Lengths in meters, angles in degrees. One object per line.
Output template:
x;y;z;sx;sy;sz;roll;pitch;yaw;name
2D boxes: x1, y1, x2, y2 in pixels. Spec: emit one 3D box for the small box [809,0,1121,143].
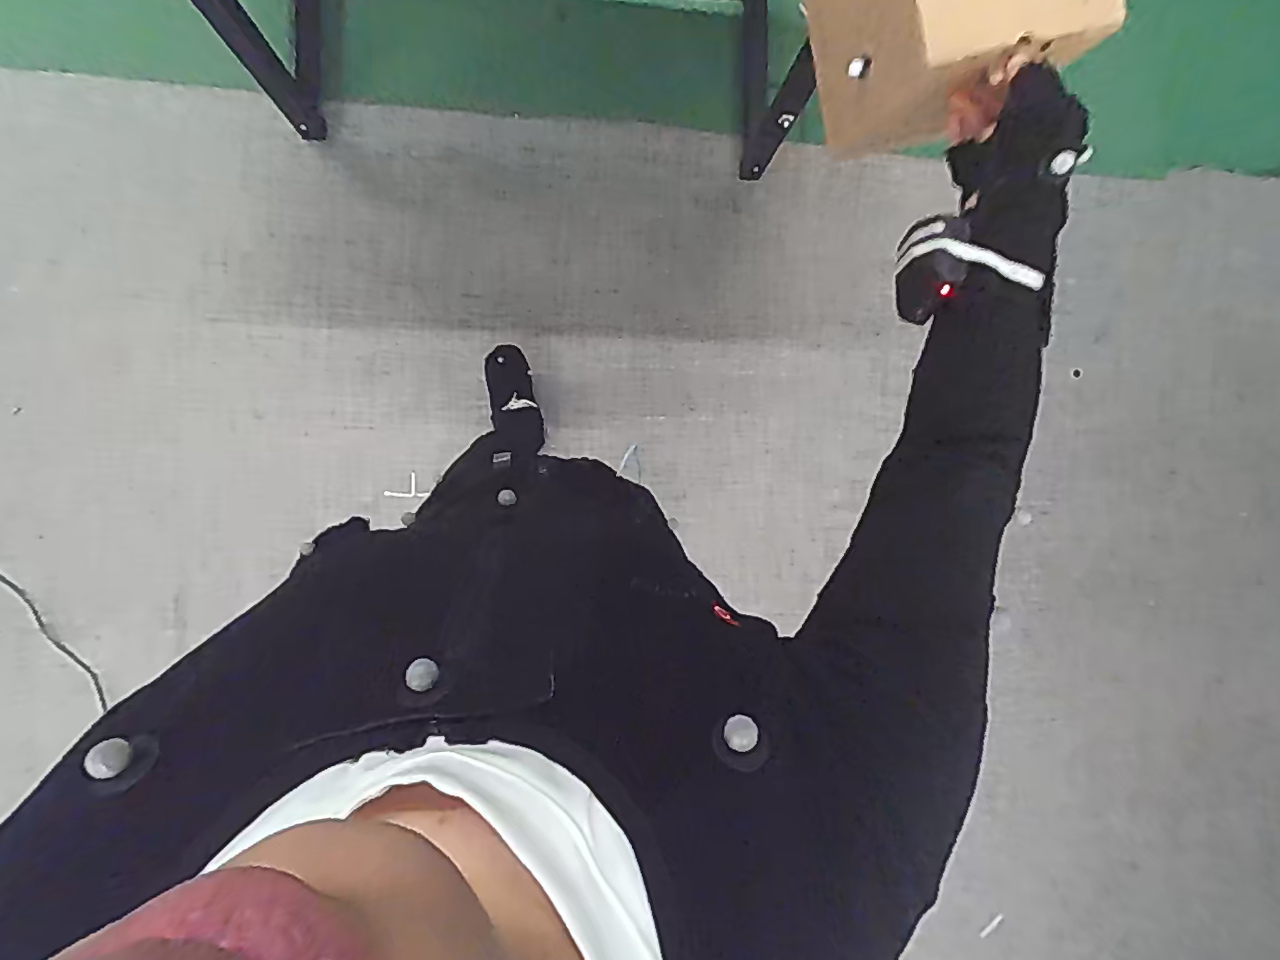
0.264;-0.426;0.474;0.168;0.176;0.179;-14;101;-3;small box
